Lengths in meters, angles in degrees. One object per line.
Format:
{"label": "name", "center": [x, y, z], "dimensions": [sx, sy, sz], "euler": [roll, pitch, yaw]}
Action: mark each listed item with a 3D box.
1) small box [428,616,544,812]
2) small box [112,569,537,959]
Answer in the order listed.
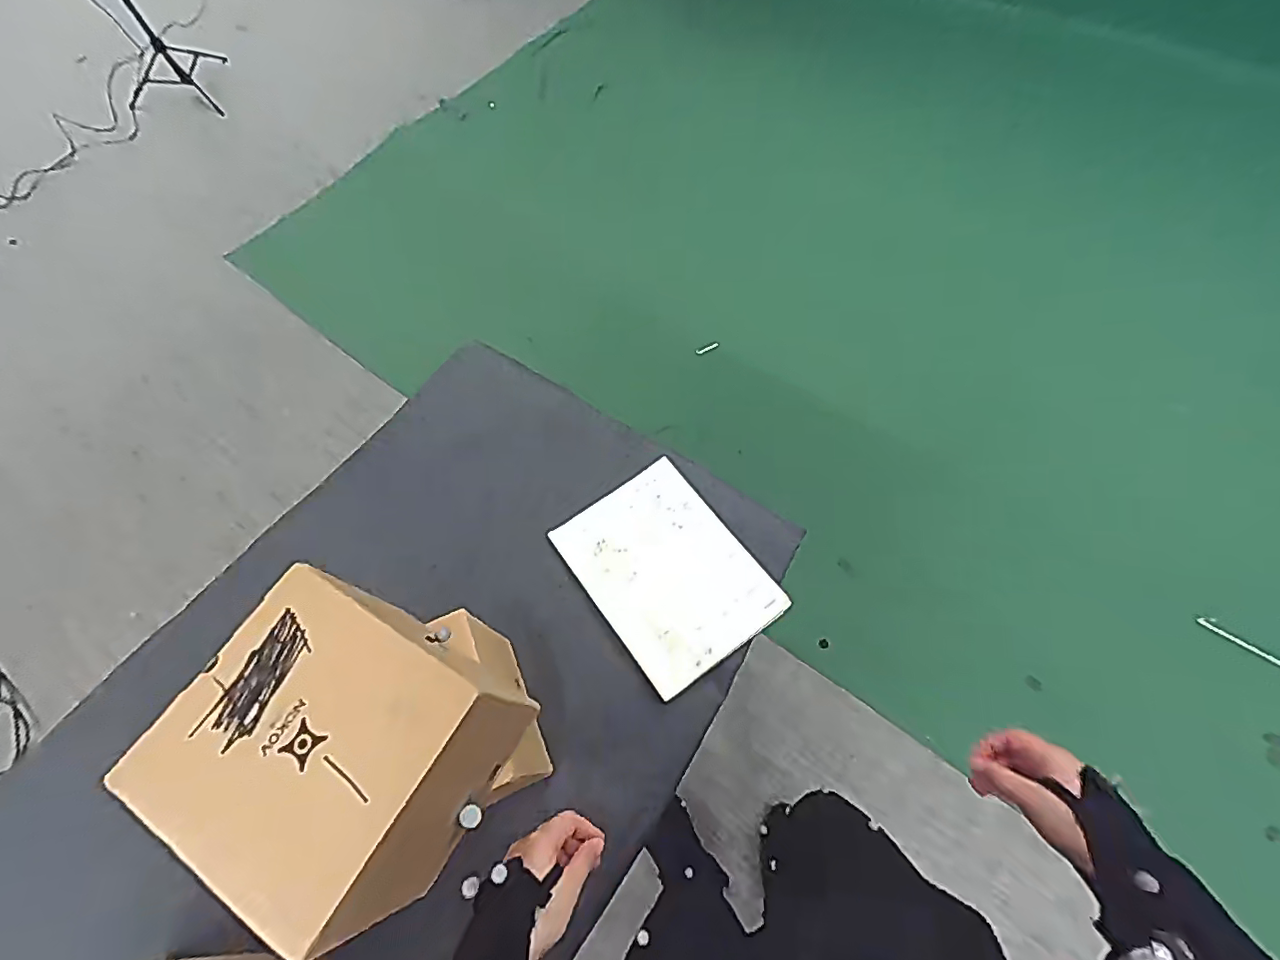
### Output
{"label": "small box", "center": [-0.211, 0.264, 0.559], "dimensions": [0.179, 0.176, 0.168], "euler": [-24, 65, -7]}
{"label": "small box", "center": [-0.206, 0.198, 0.408], "dimensions": [0.179, 0.176, 0.168], "euler": [27, 70, 16]}
